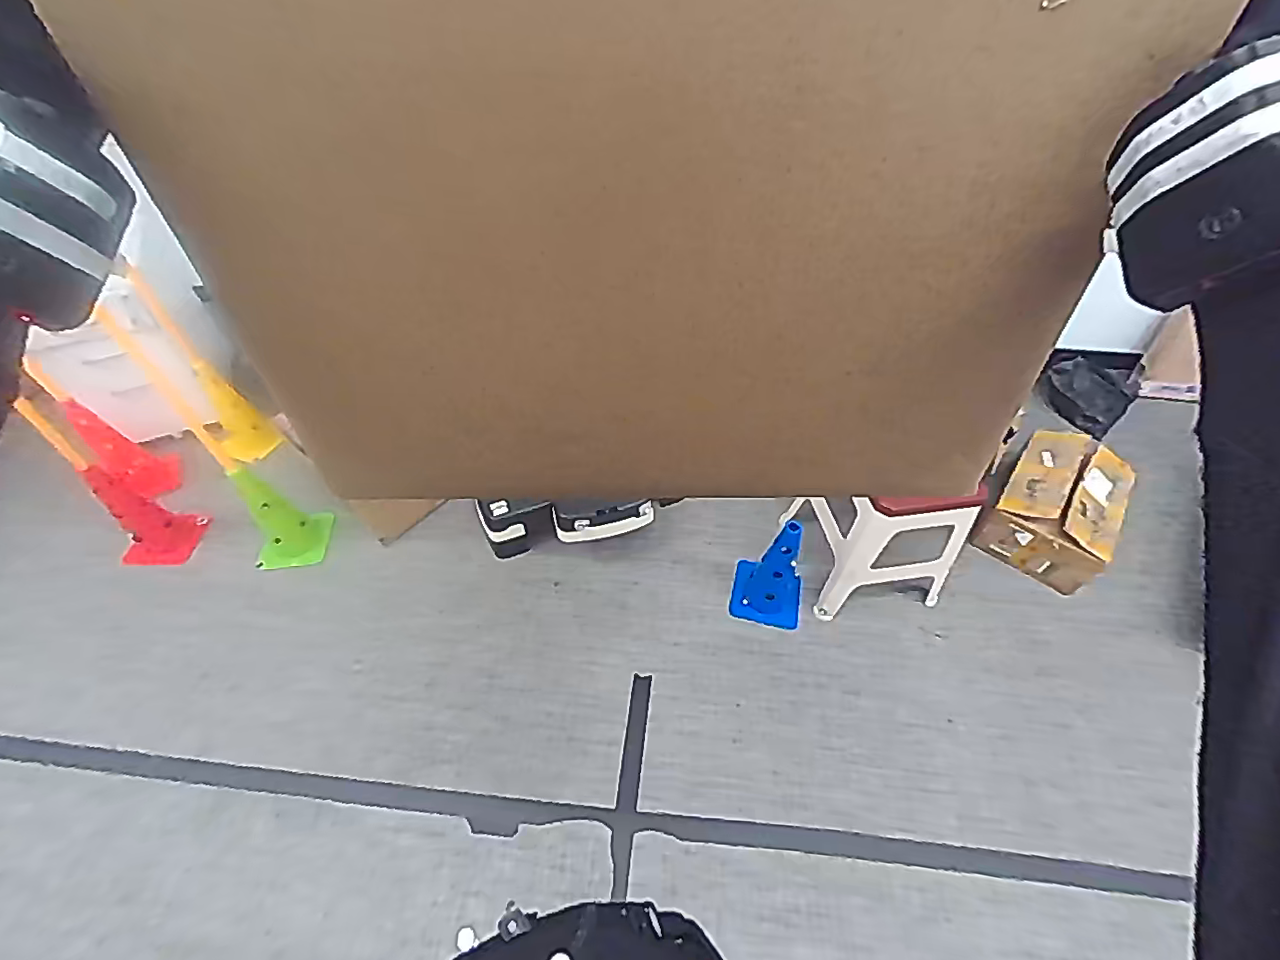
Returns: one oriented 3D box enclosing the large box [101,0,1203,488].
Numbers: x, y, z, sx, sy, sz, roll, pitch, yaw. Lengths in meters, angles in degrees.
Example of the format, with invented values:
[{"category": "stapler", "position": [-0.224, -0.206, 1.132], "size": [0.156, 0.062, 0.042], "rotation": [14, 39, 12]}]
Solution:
[{"category": "large box", "position": [0.004, -0.206, 0.358], "size": [0.408, 0.320, 0.320], "rotation": [0, 44, 1]}]
